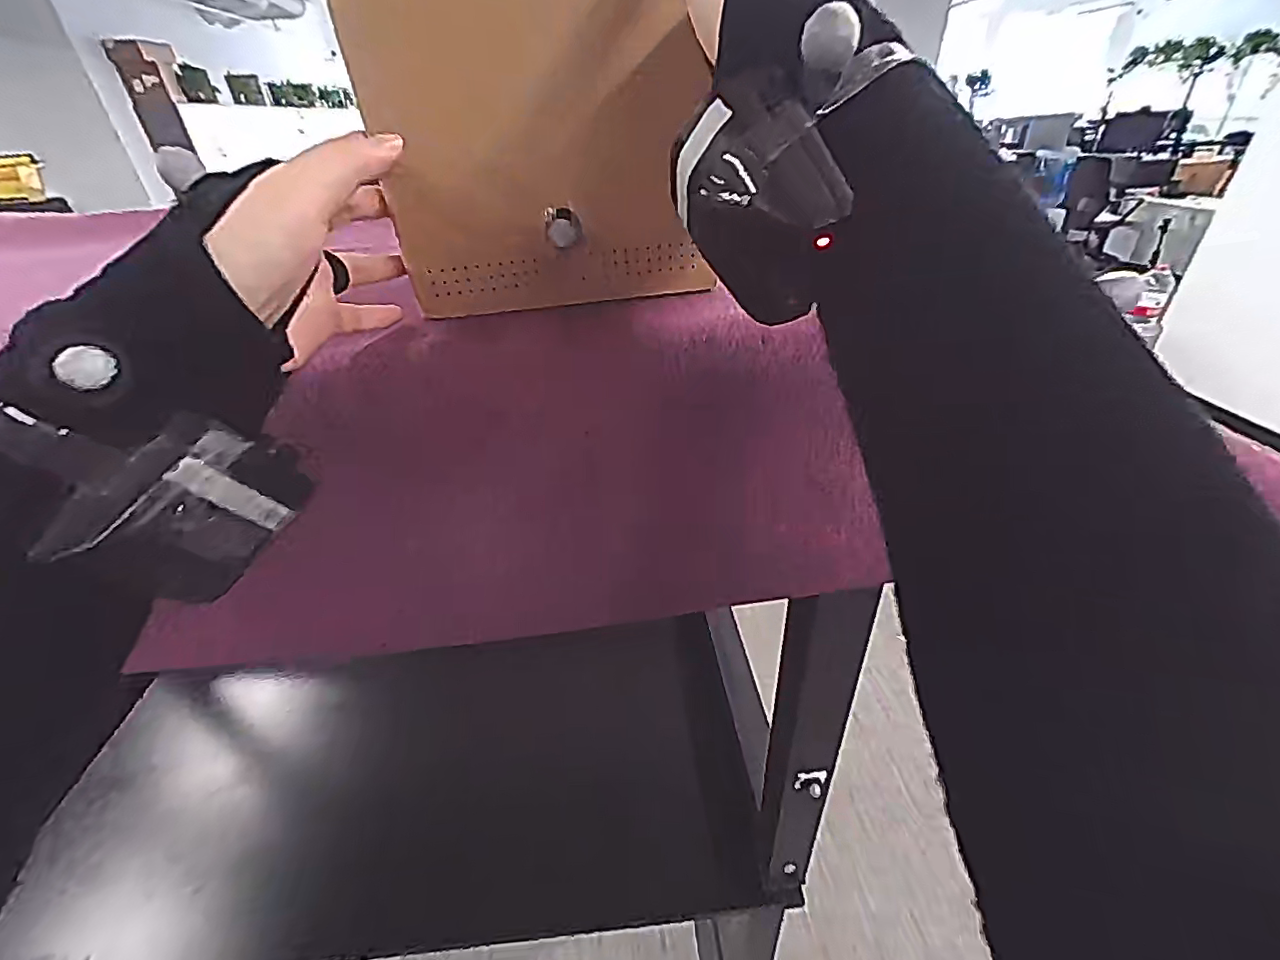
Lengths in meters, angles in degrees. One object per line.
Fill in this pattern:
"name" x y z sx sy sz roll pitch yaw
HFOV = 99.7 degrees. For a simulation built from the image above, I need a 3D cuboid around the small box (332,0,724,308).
"small box" -0.053 -0.215 0.330 0.179 0.176 0.168 -7 33 -5
